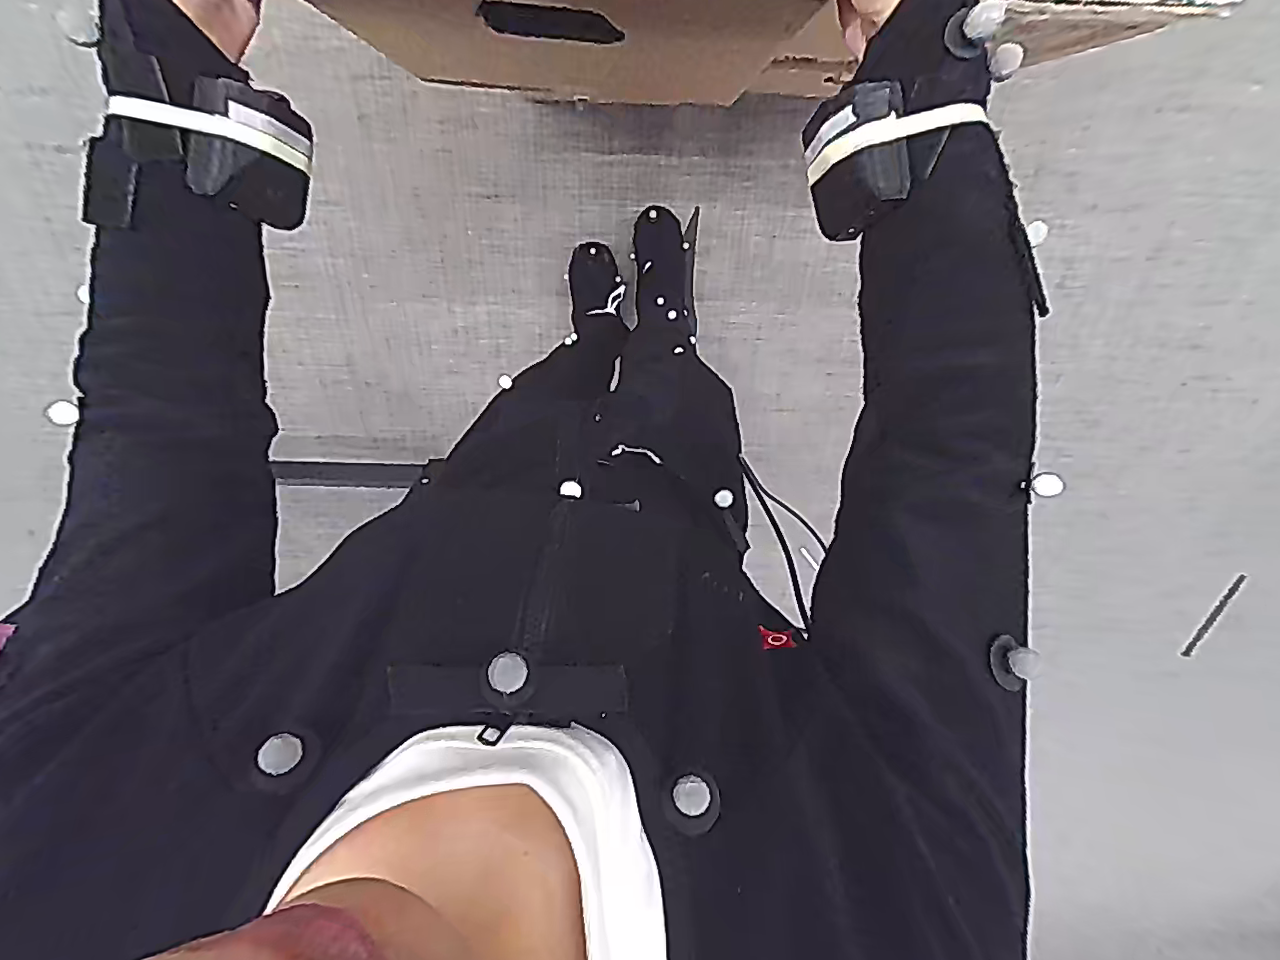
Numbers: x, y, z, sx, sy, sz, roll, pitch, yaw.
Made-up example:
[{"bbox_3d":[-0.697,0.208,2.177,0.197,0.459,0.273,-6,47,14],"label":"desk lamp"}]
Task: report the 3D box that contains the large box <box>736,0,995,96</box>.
[{"bbox_3d":[0.343,-0.850,0.826,0.320,0.320,0.408,0,121,-2],"label":"large box"}]
